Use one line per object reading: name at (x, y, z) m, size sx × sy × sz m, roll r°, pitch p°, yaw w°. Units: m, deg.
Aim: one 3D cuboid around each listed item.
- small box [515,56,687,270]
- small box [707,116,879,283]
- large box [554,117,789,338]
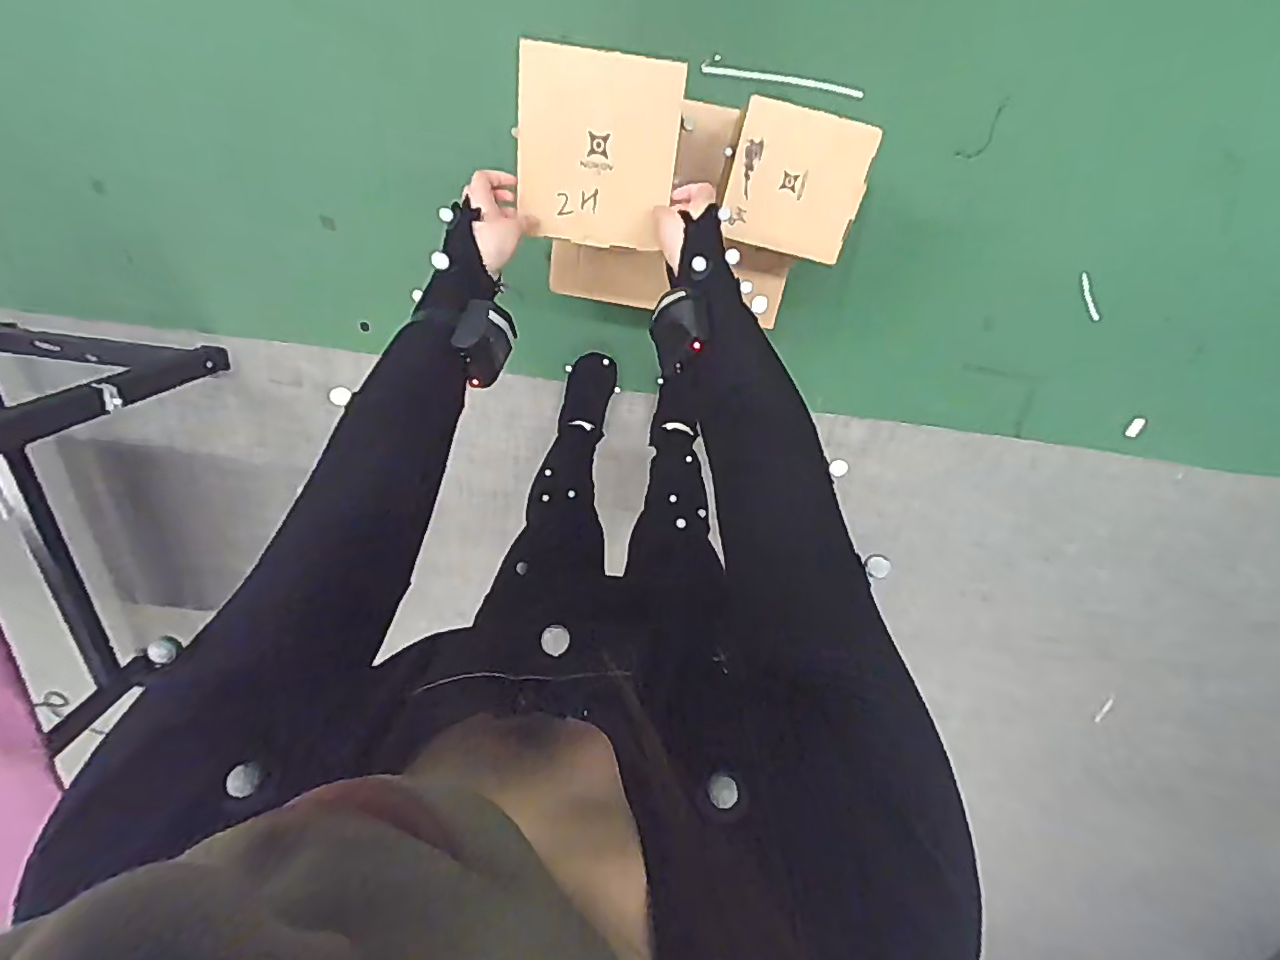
small box at (-0.044, -0.356, 0.631) m, size 0.168 × 0.176 × 0.179 m, roll 7°, pitch 117°, yaw -2°
small box at (0.205, -0.397, 0.781) m, size 0.179 × 0.176 × 0.168 m, roll 14°, pitch 115°, yaw -2°
large box at (0.065, -0.476, 1.021) m, size 0.408 × 0.320 × 0.320 m, roll 8°, pitch 117°, yaw -2°
